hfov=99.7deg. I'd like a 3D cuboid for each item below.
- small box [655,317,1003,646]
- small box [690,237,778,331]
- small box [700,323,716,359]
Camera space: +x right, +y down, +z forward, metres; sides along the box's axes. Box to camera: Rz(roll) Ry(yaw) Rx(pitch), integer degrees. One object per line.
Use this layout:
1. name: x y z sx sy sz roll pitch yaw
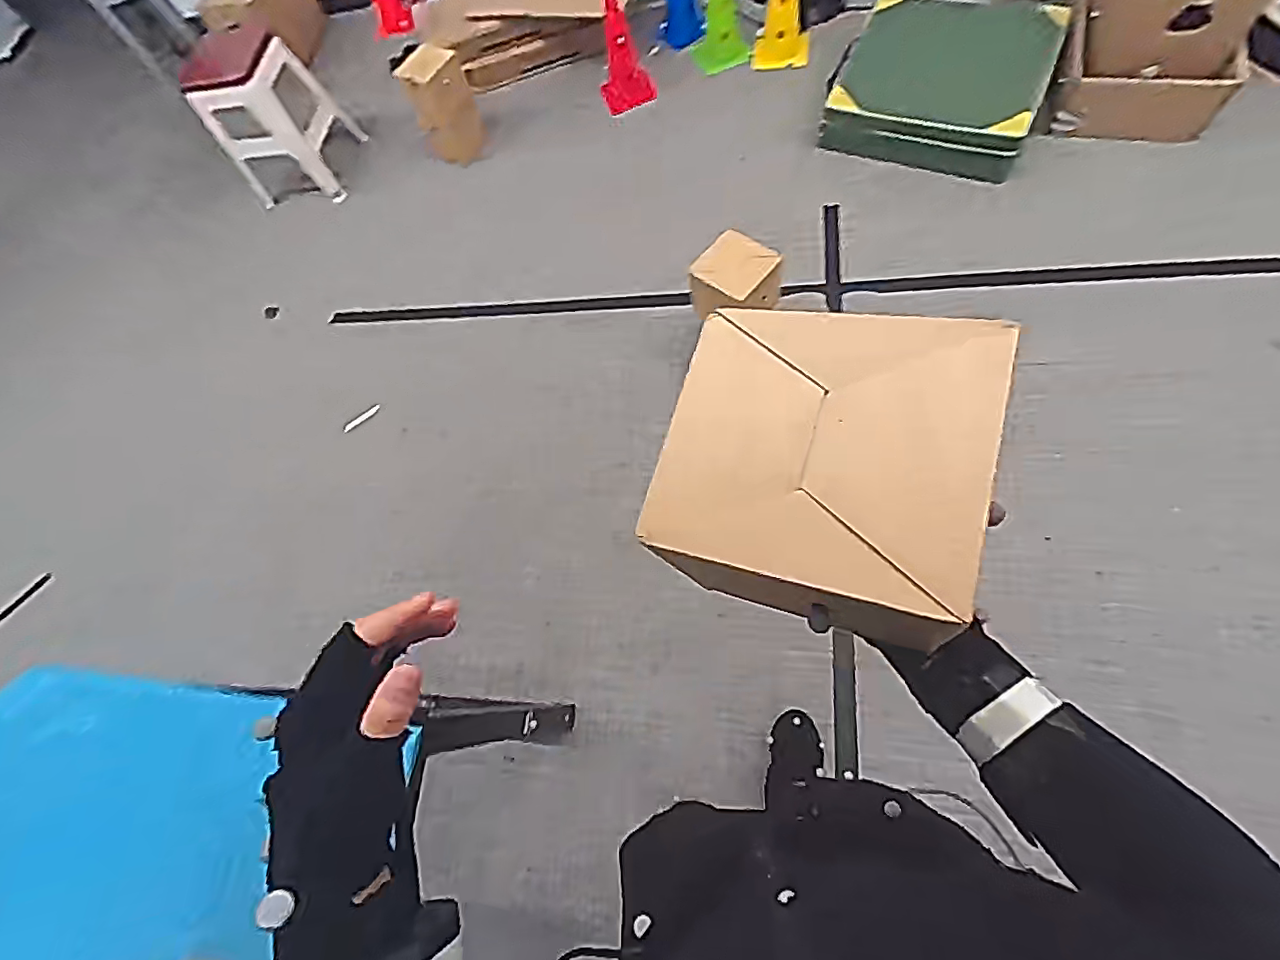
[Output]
1. small box: 0.135 0.004 0.380 0.179 0.176 0.168 12 73 27
2. small box: 0.249 -0.502 1.434 0.179 0.176 0.168 38 79 22
3. small box: 0.276 -0.430 1.584 0.179 0.176 0.168 3 69 12
